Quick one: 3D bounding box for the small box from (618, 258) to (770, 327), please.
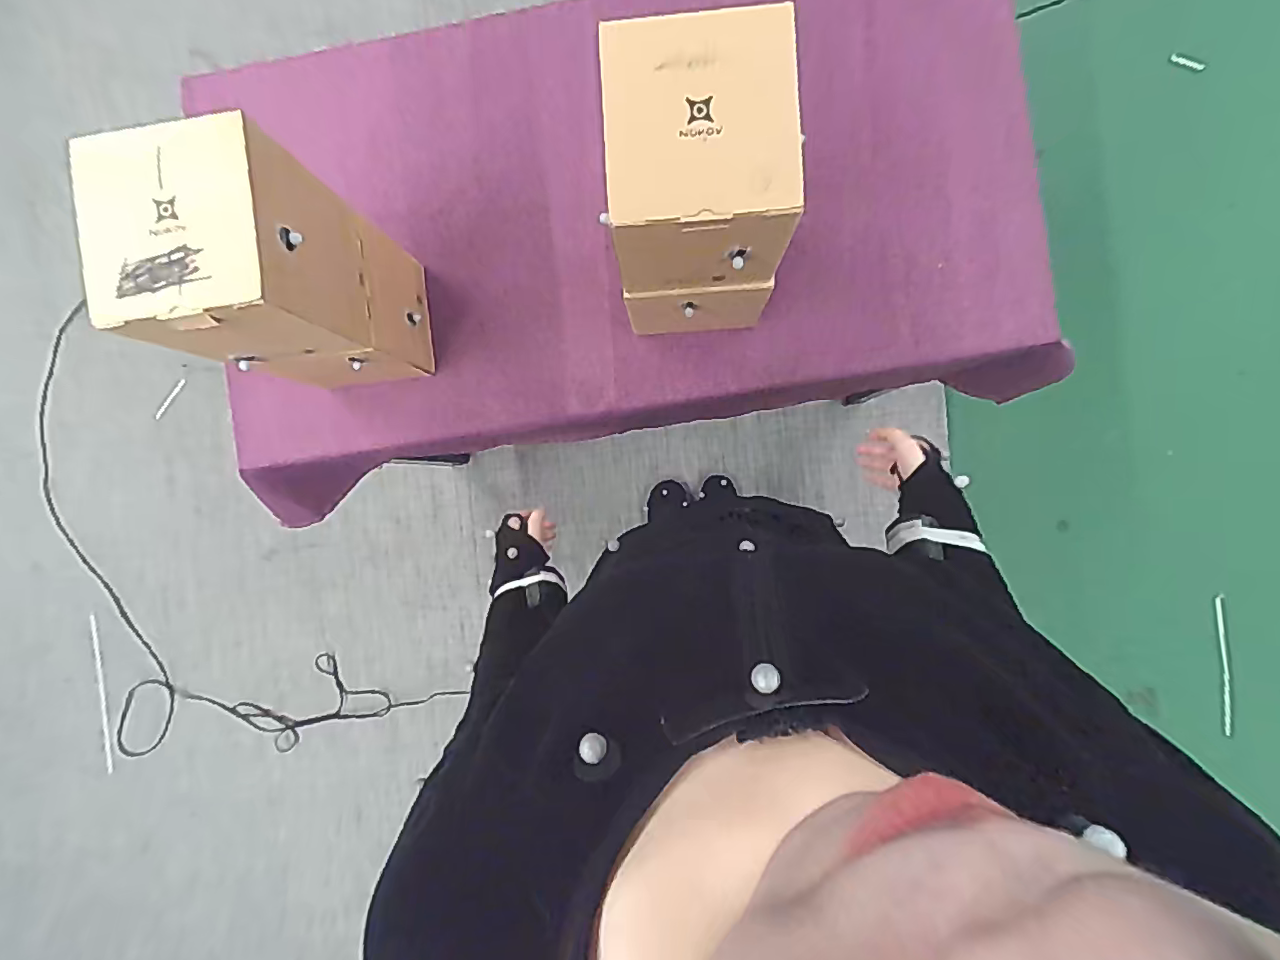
[{"bbox_3d":[0.066,-0.301,0.697,0.179,0.176,0.168,-2,91,5],"label":"small box"}]

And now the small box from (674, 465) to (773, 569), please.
[{"bbox_3d":[0.210,0.097,1.410,0.179,0.176,0.168,-28,58,-28],"label":"small box"}]

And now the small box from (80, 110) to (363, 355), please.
[{"bbox_3d":[-0.420,-0.239,0.572,0.168,0.176,0.179,-7,89,4],"label":"small box"}]

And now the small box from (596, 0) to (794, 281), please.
[{"bbox_3d":[0.052,-0.309,0.534,0.168,0.176,0.179,-2,90,4],"label":"small box"}]

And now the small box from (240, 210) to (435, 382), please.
[{"bbox_3d":[-0.406,-0.236,0.736,0.179,0.176,0.168,-7,90,4],"label":"small box"}]
